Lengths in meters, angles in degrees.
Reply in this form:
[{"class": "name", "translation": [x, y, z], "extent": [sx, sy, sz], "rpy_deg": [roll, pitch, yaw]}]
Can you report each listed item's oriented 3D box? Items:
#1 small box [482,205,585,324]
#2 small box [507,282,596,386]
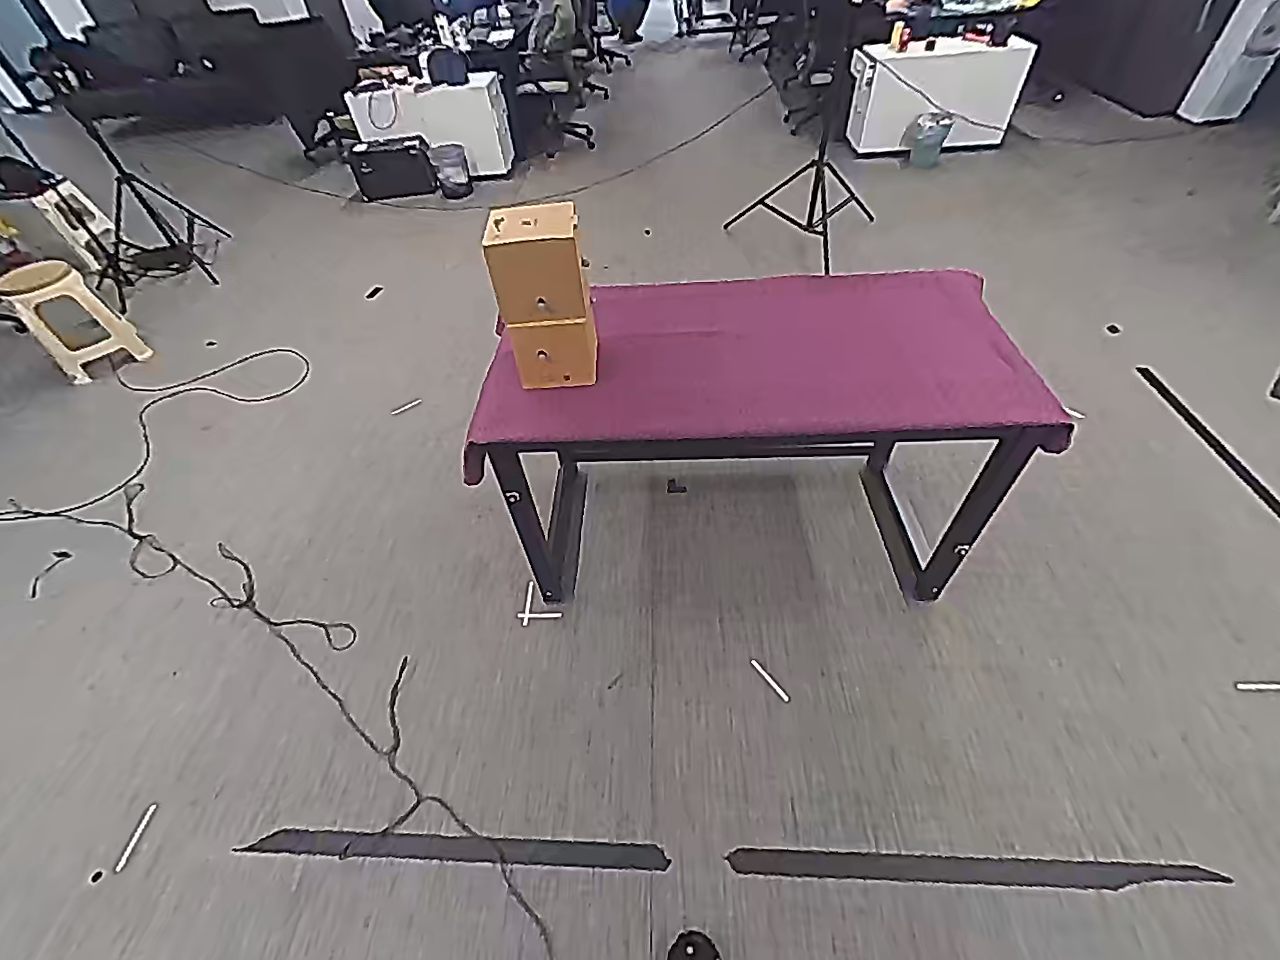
[{"class": "small box", "translation": [-0.207, -0.440, 1.110], "extent": [0.179, 0.176, 0.168], "rpy_deg": [-5, 47, -1]}, {"class": "small box", "translation": [-0.191, -0.325, 1.226], "extent": [0.168, 0.176, 0.179], "rpy_deg": [-4, 47, 1]}]
